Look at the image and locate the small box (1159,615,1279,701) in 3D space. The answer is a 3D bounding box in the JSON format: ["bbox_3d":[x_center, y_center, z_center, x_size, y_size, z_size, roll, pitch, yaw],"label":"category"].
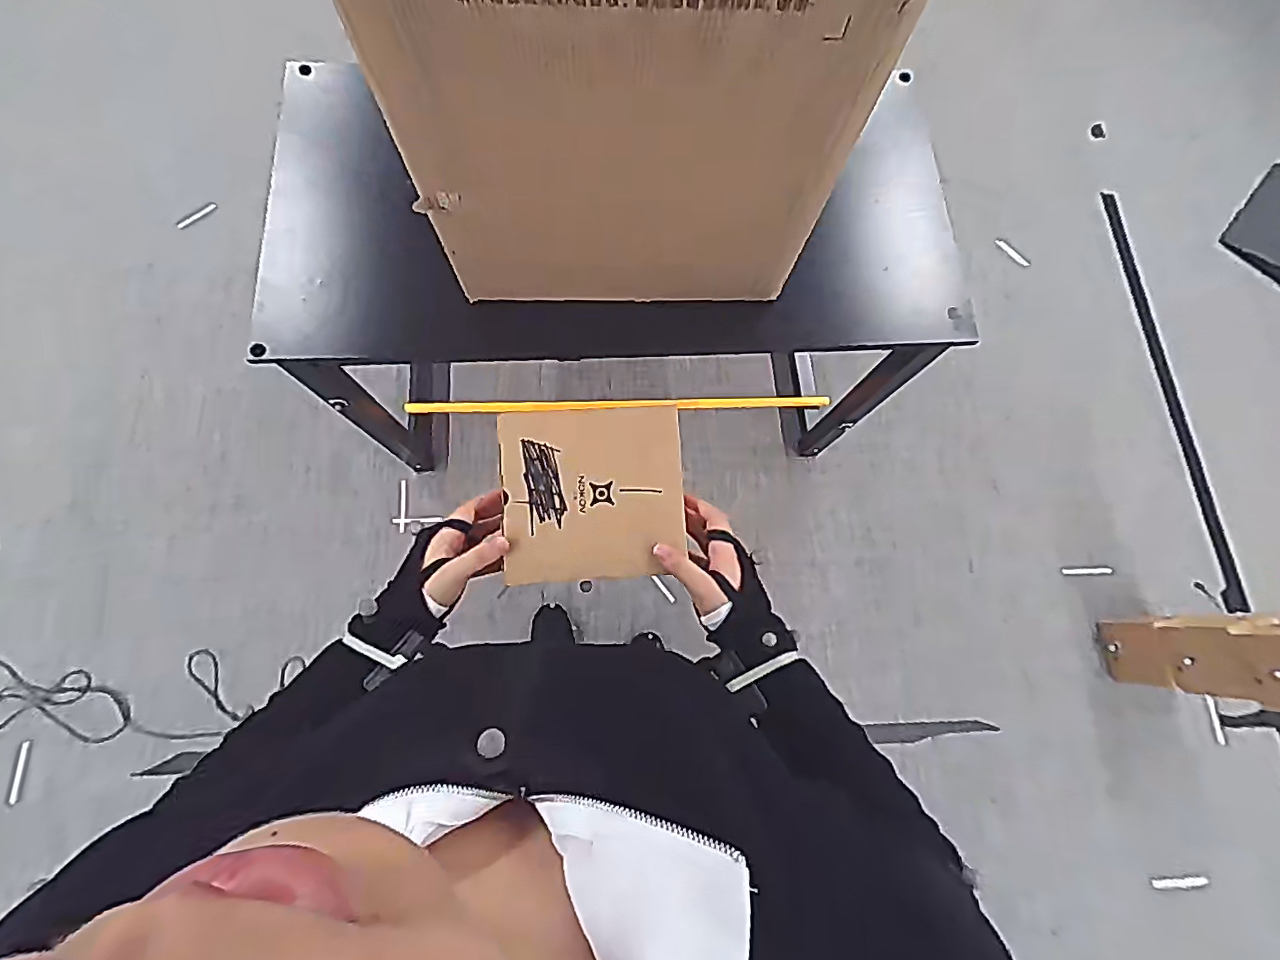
[{"bbox_3d":[1.431,0.422,1.302,0.179,0.176,0.168,-10,75,-6],"label":"small box"}]

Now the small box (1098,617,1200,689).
[{"bbox_3d":[1.409,0.462,1.461,0.179,0.176,0.168,-5,75,-3],"label":"small box"}]

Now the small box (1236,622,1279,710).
[{"bbox_3d":[1.437,0.391,1.141,0.179,0.176,0.168,-11,75,-6],"label":"small box"}]

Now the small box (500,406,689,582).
[{"bbox_3d":[-0.048,0.021,0.589,0.179,0.176,0.168,-3,84,-5],"label":"small box"}]
